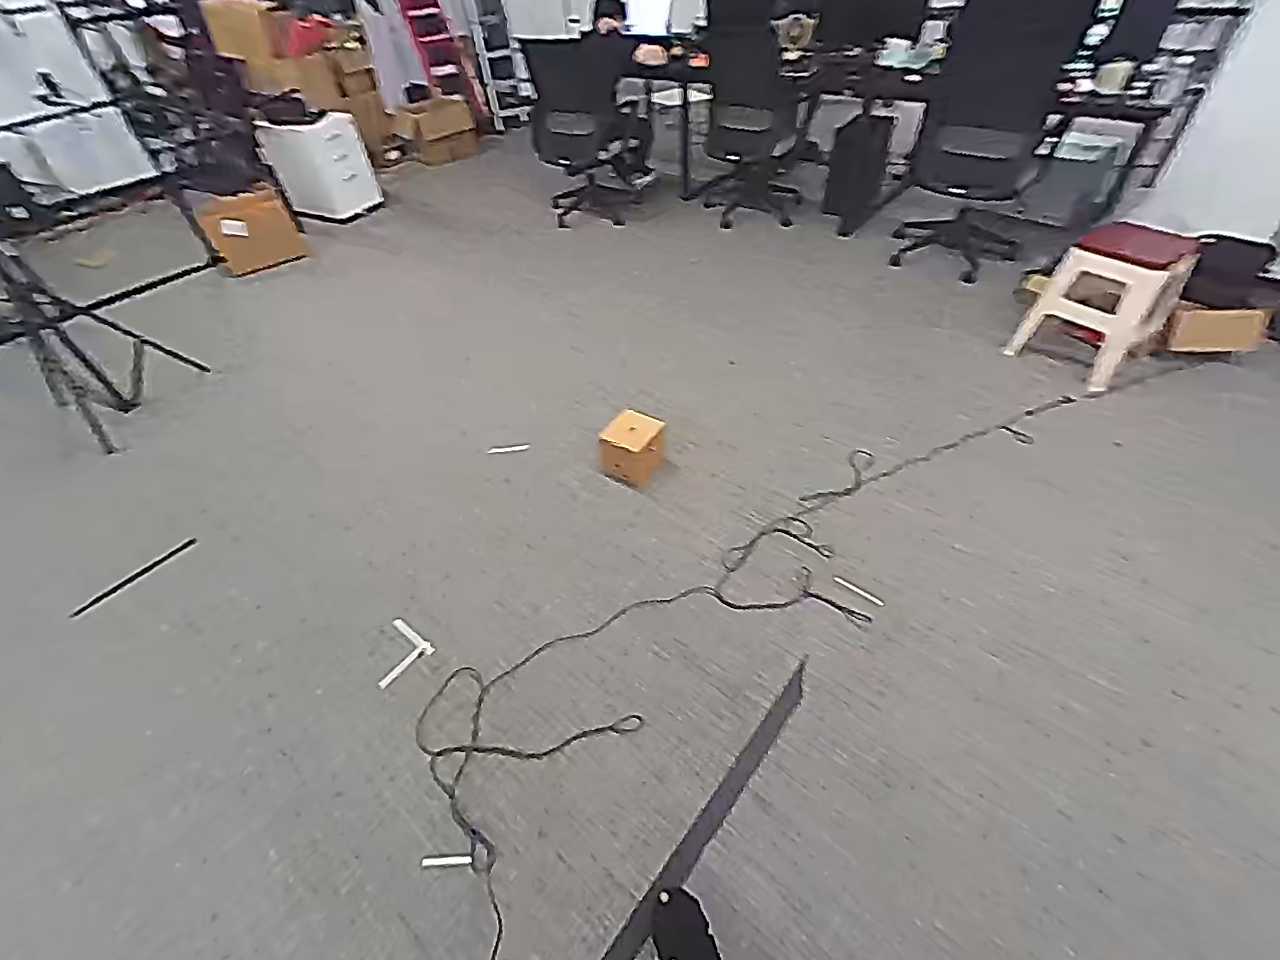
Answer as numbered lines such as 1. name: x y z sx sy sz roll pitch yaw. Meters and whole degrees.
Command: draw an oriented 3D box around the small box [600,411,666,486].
1. small box: -0.021 -0.110 1.919 0.168 0.176 0.179 24 53 26
